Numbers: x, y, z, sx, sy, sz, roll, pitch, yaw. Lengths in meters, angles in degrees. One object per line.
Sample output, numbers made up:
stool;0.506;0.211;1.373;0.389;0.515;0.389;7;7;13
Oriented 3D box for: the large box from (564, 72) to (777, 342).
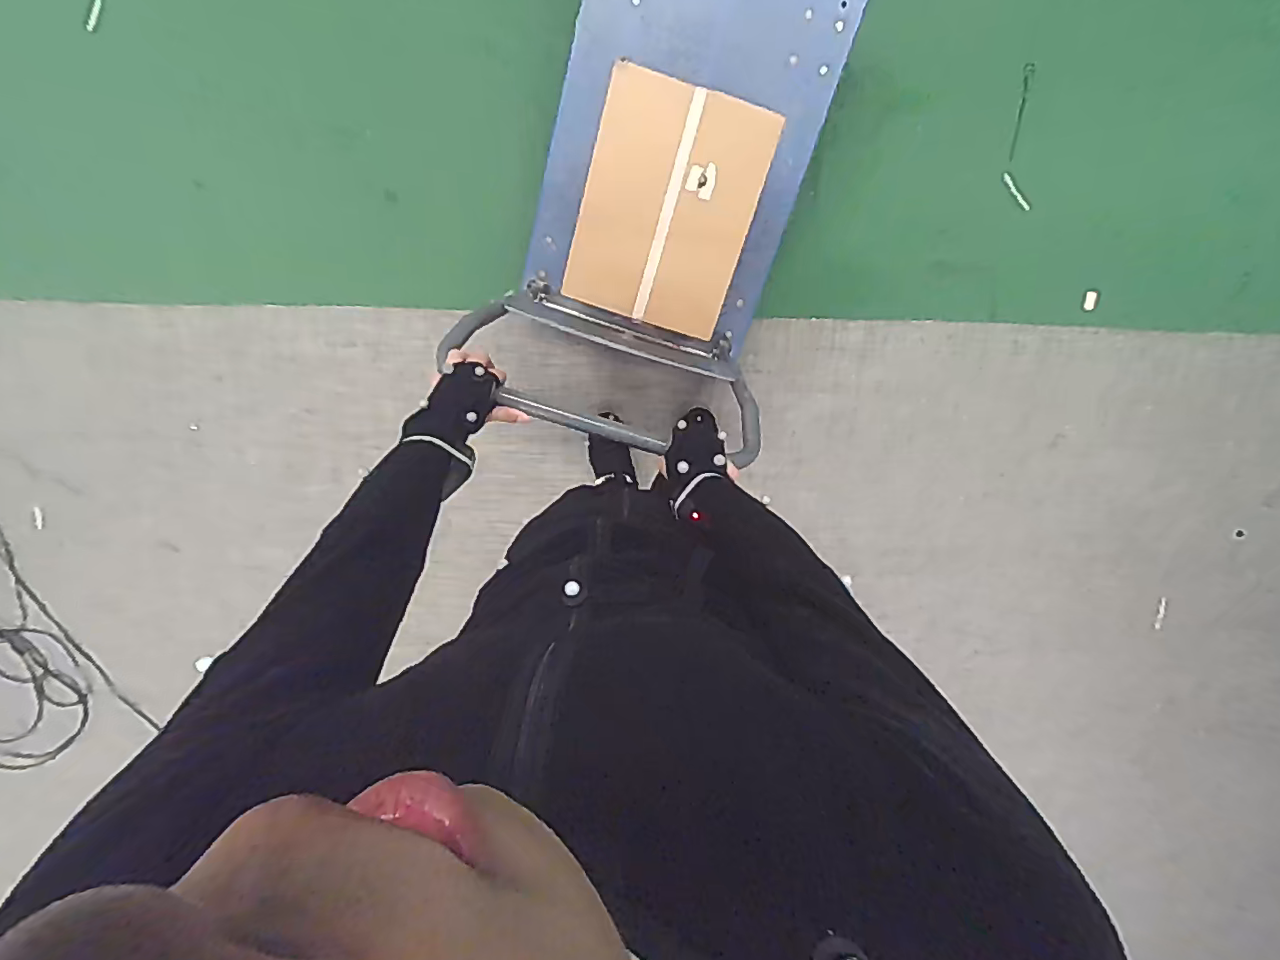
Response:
large box;0.054;-0.545;1.159;0.320;0.320;0.408;17;110;-4
